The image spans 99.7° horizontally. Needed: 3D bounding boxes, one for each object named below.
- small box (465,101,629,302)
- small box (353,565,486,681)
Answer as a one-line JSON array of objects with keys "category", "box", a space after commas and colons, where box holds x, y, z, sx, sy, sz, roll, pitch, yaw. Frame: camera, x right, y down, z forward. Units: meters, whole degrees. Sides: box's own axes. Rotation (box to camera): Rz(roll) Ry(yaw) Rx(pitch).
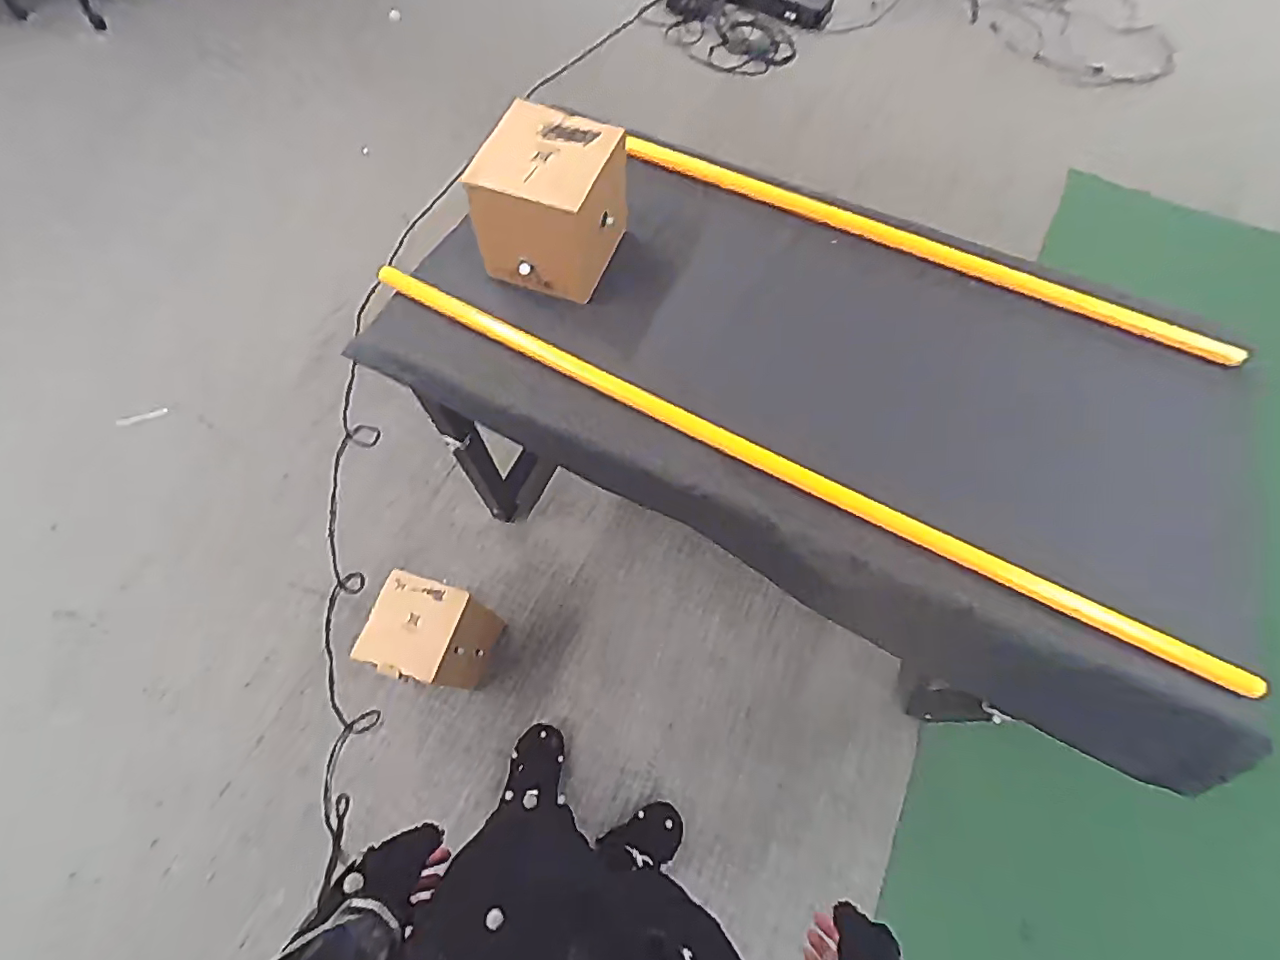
[{"category": "small box", "box": [-0.124, -0.397, 0.786, 0.168, 0.176, 0.179, 19, 67, 7]}, {"category": "small box", "box": [-0.430, 0.295, 1.092, 0.168, 0.176, 0.179, 14, 66, 6]}]
